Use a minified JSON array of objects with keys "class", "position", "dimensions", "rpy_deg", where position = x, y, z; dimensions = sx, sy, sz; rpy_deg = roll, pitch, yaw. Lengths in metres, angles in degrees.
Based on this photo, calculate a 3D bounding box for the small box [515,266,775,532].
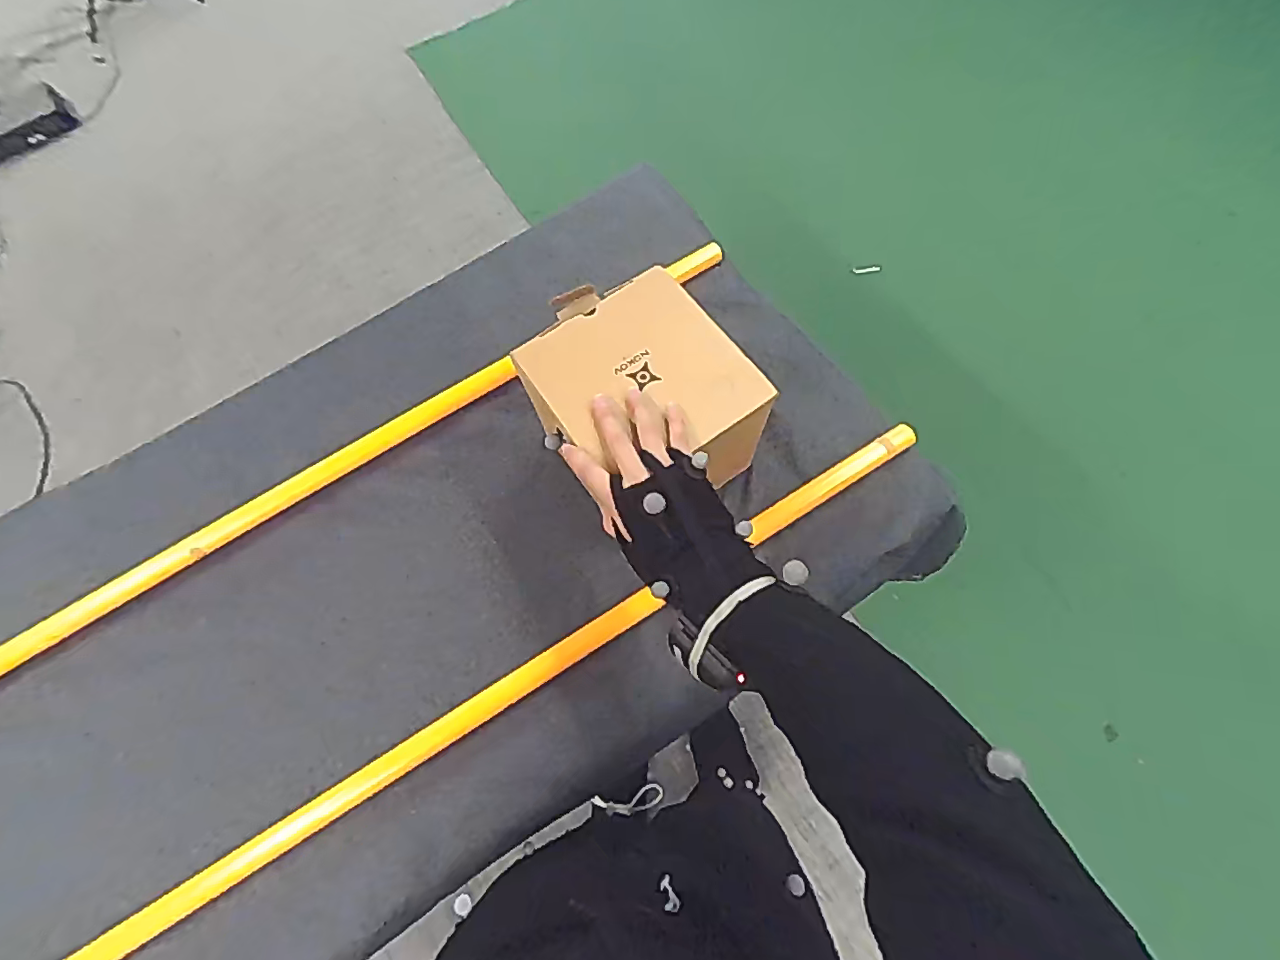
[{"class":"small box","position":[0.007,-0.065,0.542],"dimensions":[0.168,0.176,0.179],"rpy_deg":[-34,70,-9]}]
